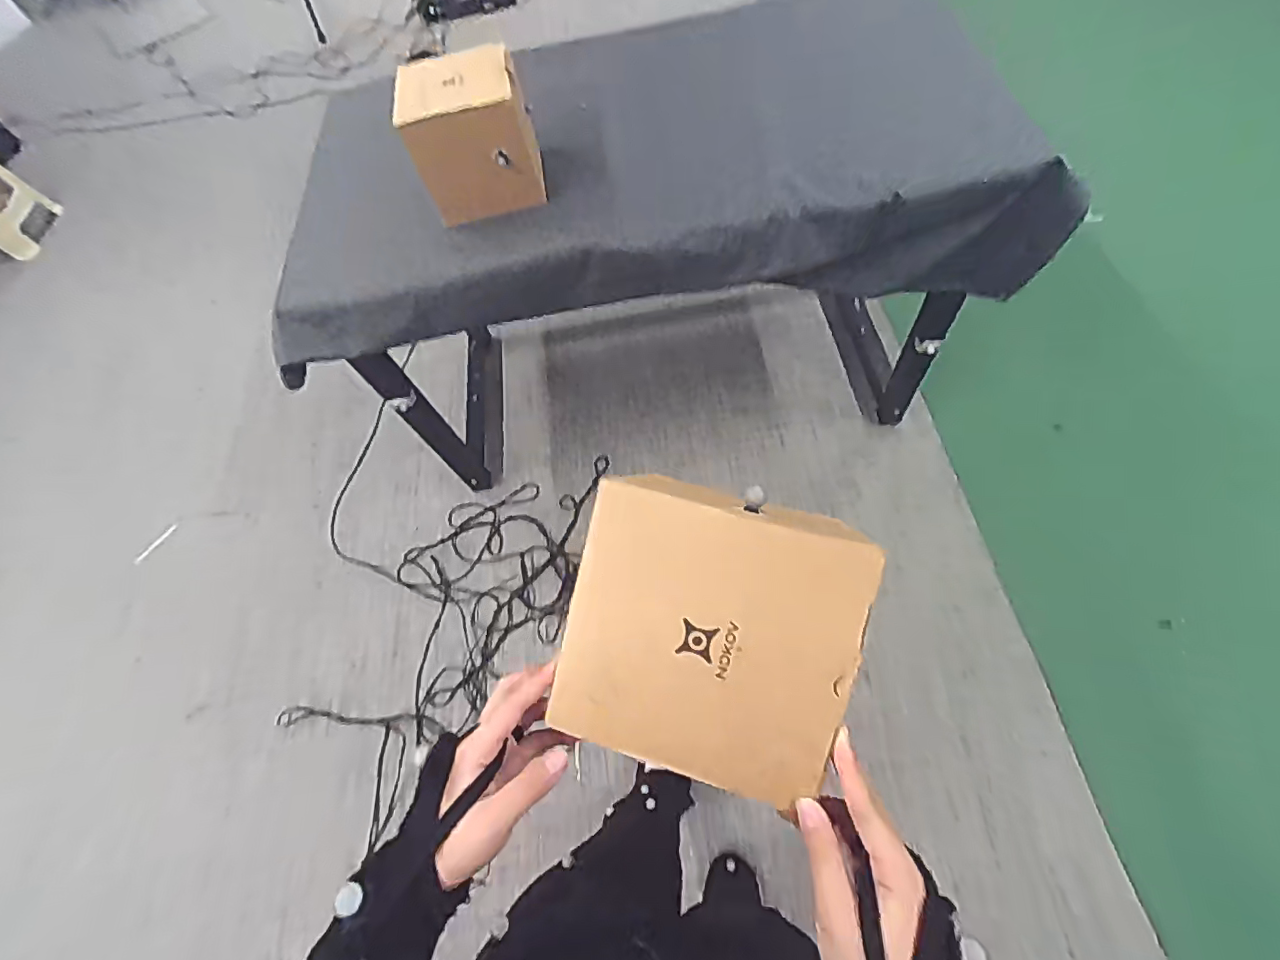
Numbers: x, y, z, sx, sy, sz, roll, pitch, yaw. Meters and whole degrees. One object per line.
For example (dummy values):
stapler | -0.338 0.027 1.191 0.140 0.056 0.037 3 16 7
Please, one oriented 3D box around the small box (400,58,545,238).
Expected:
small box | -0.258 -0.526 0.870 0.179 0.176 0.168 -13 60 3

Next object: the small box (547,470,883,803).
small box | 0.055 0.093 0.410 0.179 0.176 0.168 14 93 11
